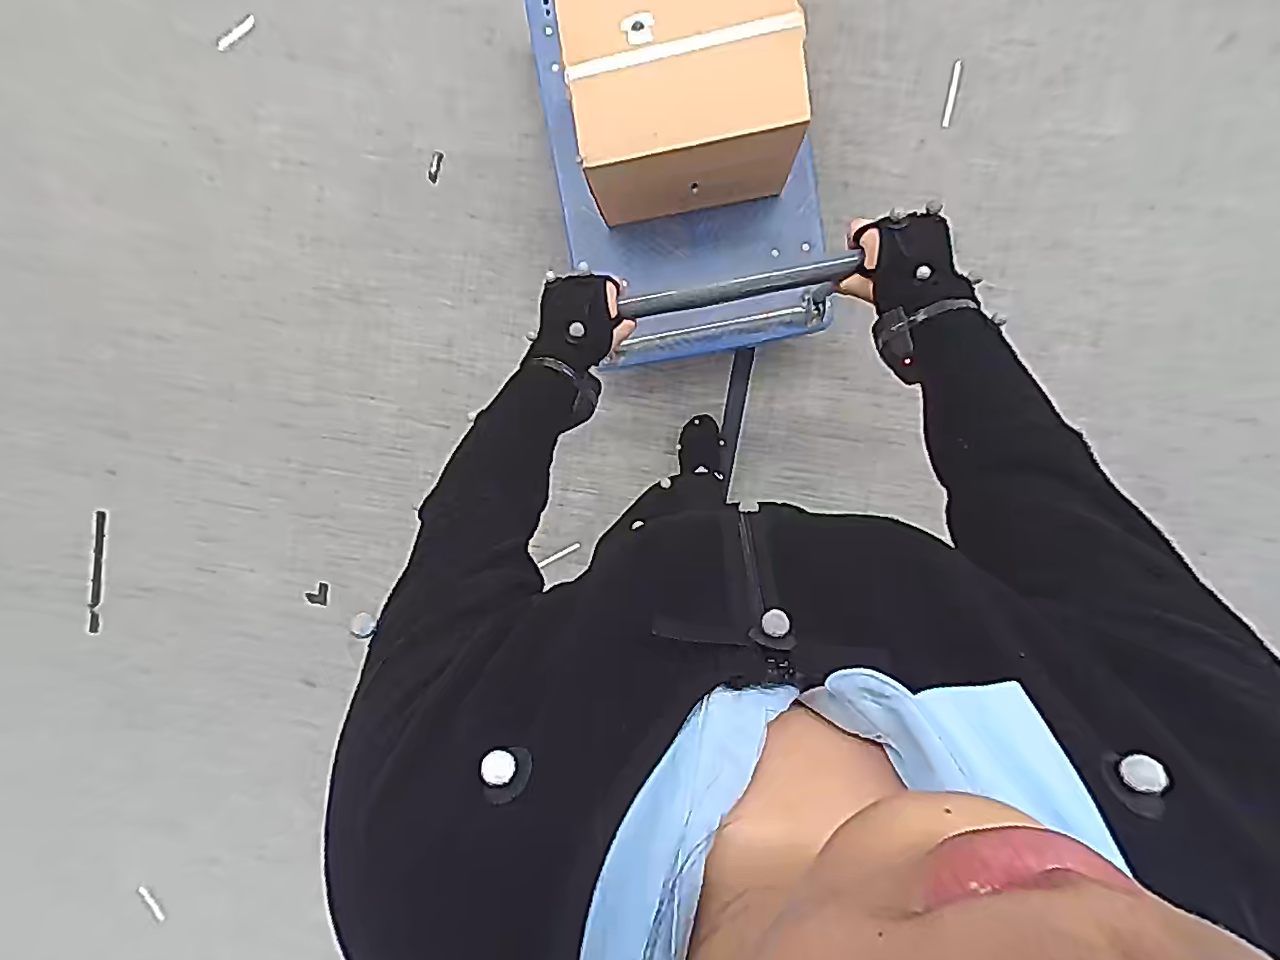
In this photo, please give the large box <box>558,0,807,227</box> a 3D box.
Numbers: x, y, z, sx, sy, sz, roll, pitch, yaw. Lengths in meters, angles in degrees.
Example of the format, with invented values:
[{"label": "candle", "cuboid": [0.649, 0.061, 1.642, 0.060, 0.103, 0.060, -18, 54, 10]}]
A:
[{"label": "large box", "cuboid": [0.089, -0.756, 1.096, 0.408, 0.320, 0.320, -9, 95, 7]}]
